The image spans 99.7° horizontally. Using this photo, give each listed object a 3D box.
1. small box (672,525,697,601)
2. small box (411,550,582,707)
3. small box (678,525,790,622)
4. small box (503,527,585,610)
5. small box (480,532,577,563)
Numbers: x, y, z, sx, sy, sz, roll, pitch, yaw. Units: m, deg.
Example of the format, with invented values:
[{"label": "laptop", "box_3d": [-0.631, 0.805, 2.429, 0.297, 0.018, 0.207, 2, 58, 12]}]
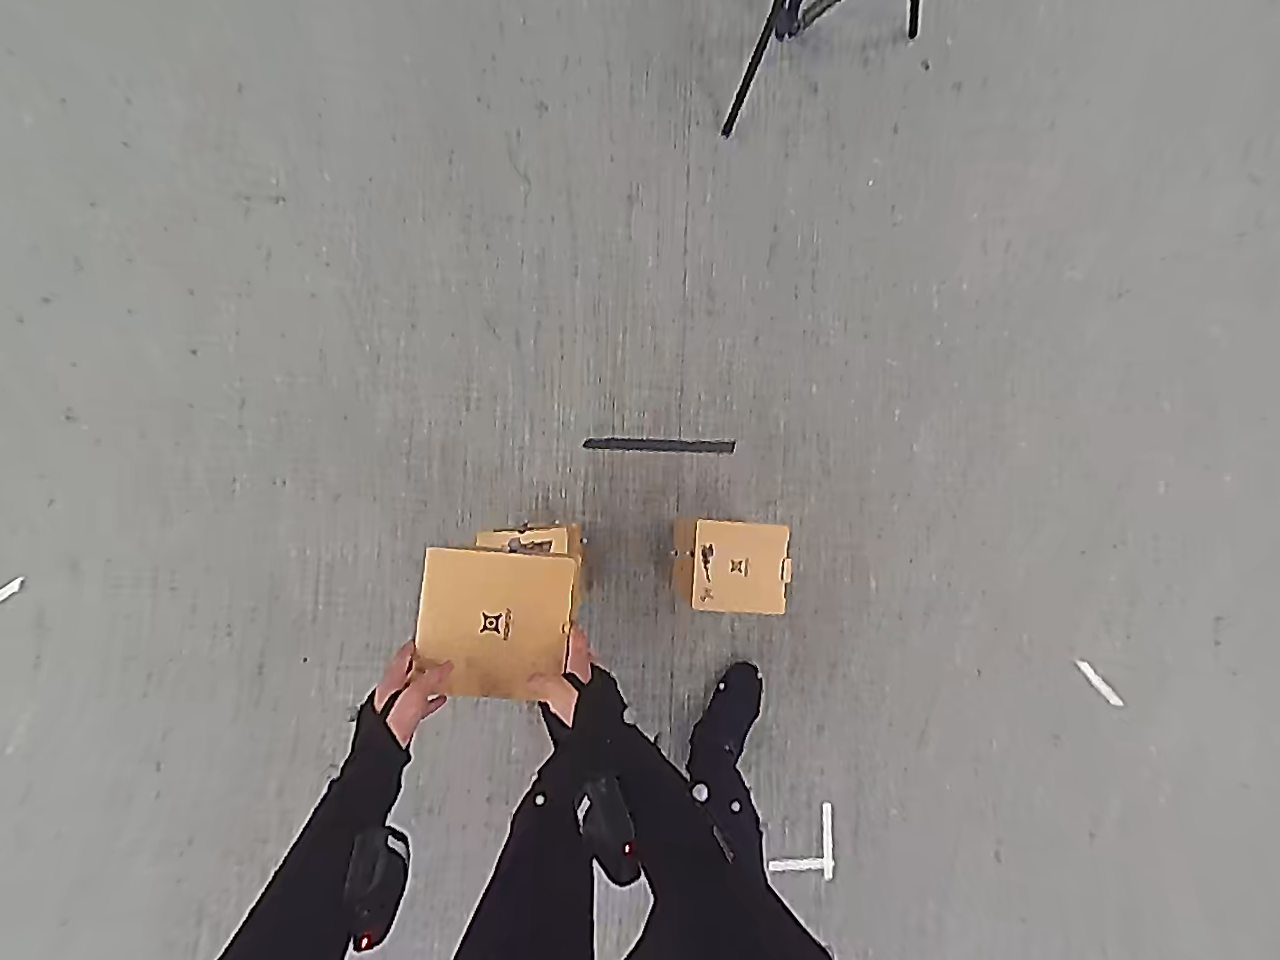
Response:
[{"label": "small box", "box_3d": [0.170, 0.190, 1.235, 0.179, 0.176, 0.168, 4, 86, -4]}, {"label": "small box", "box_3d": [-0.171, 0.182, 0.700, 0.179, 0.176, 0.168, 6, 82, -6]}, {"label": "small box", "box_3d": [0.179, 0.177, 1.072, 0.179, 0.176, 0.168, 5, 85, -4]}, {"label": "small box", "box_3d": [-0.211, 0.197, 1.213, 0.168, 0.176, 0.179, -3, 86, -3]}, {"label": "small box", "box_3d": [-0.210, 0.190, 1.049, 0.168, 0.176, 0.179, -2, 87, -3]}]
